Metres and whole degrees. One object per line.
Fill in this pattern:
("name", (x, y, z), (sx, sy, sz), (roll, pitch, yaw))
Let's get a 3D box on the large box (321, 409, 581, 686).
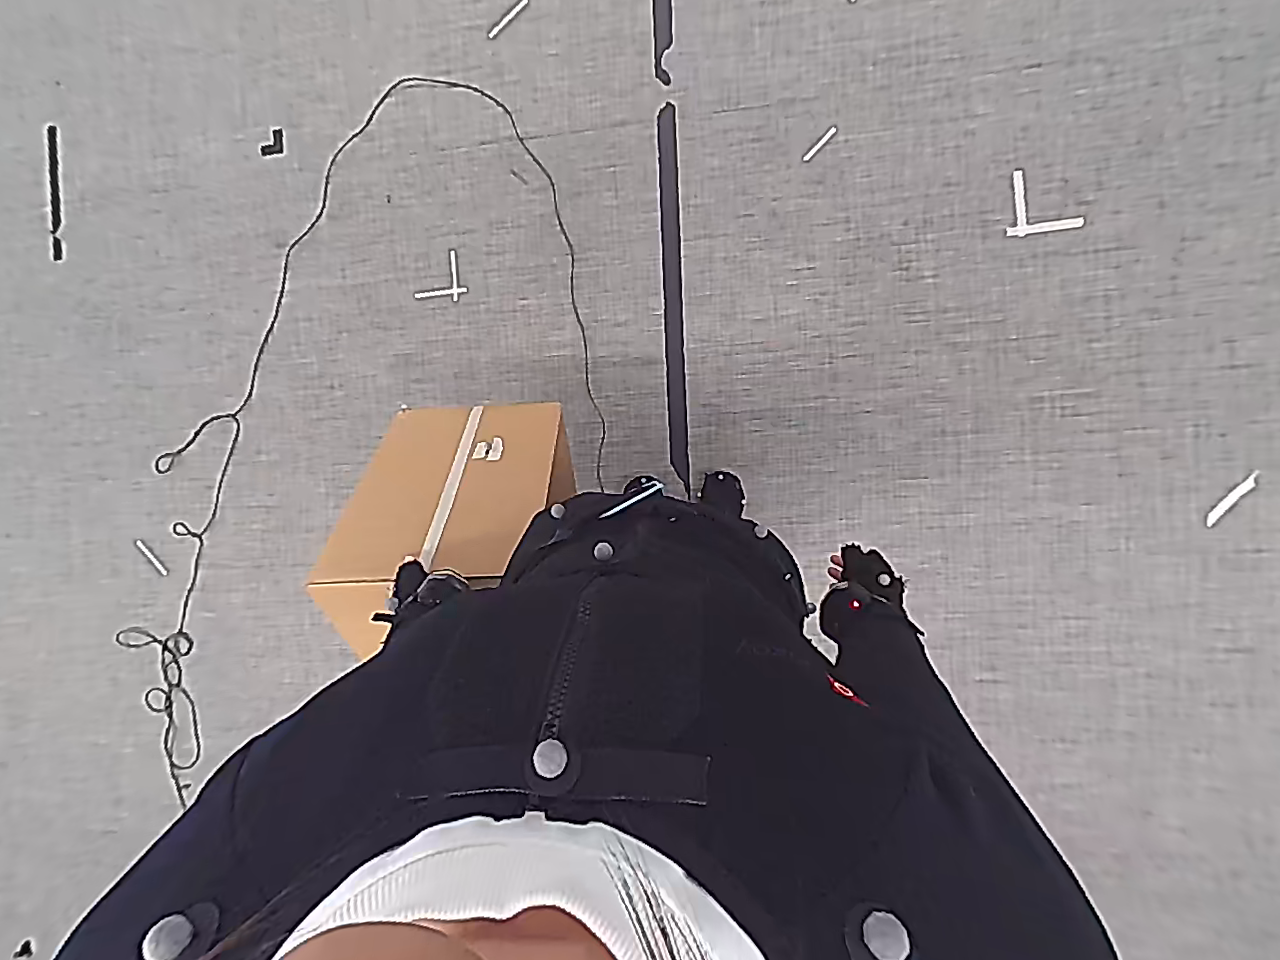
("large box", (-0.291, 0.115, 0.993), (0.320, 0.408, 0.320), (-2, 132, 2))
